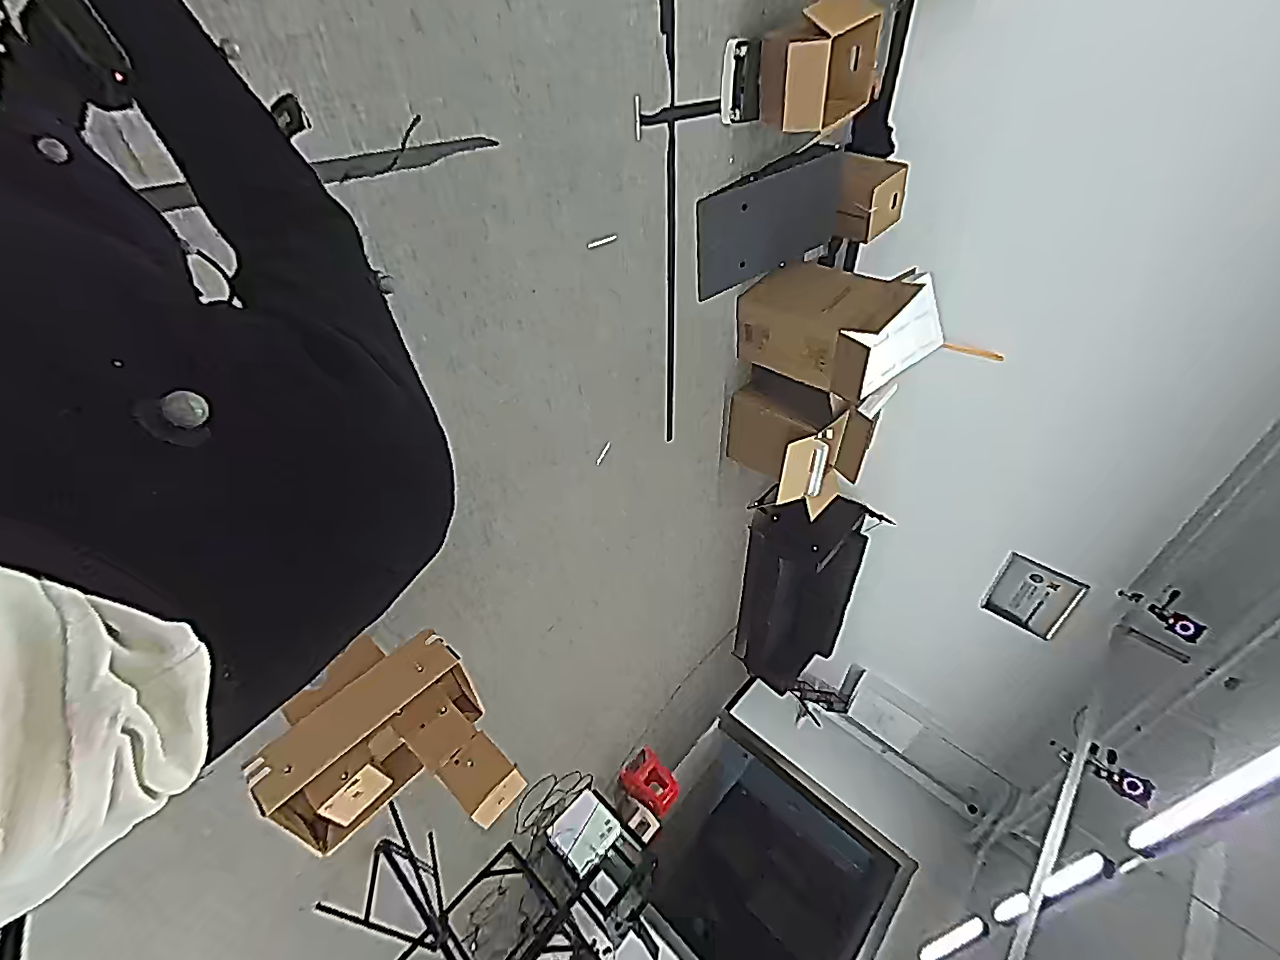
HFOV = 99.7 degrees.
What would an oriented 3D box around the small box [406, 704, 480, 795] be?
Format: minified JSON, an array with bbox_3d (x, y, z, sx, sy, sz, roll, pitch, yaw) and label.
[{"bbox_3d":[-0.605,0.842,1.704,0.168,0.176,0.179,-40,145,-30],"label":"small box"}]

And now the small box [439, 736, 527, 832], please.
[{"bbox_3d":[-0.473,0.912,1.632,0.168,0.176,0.179,-41,146,-29],"label":"small box"}]
